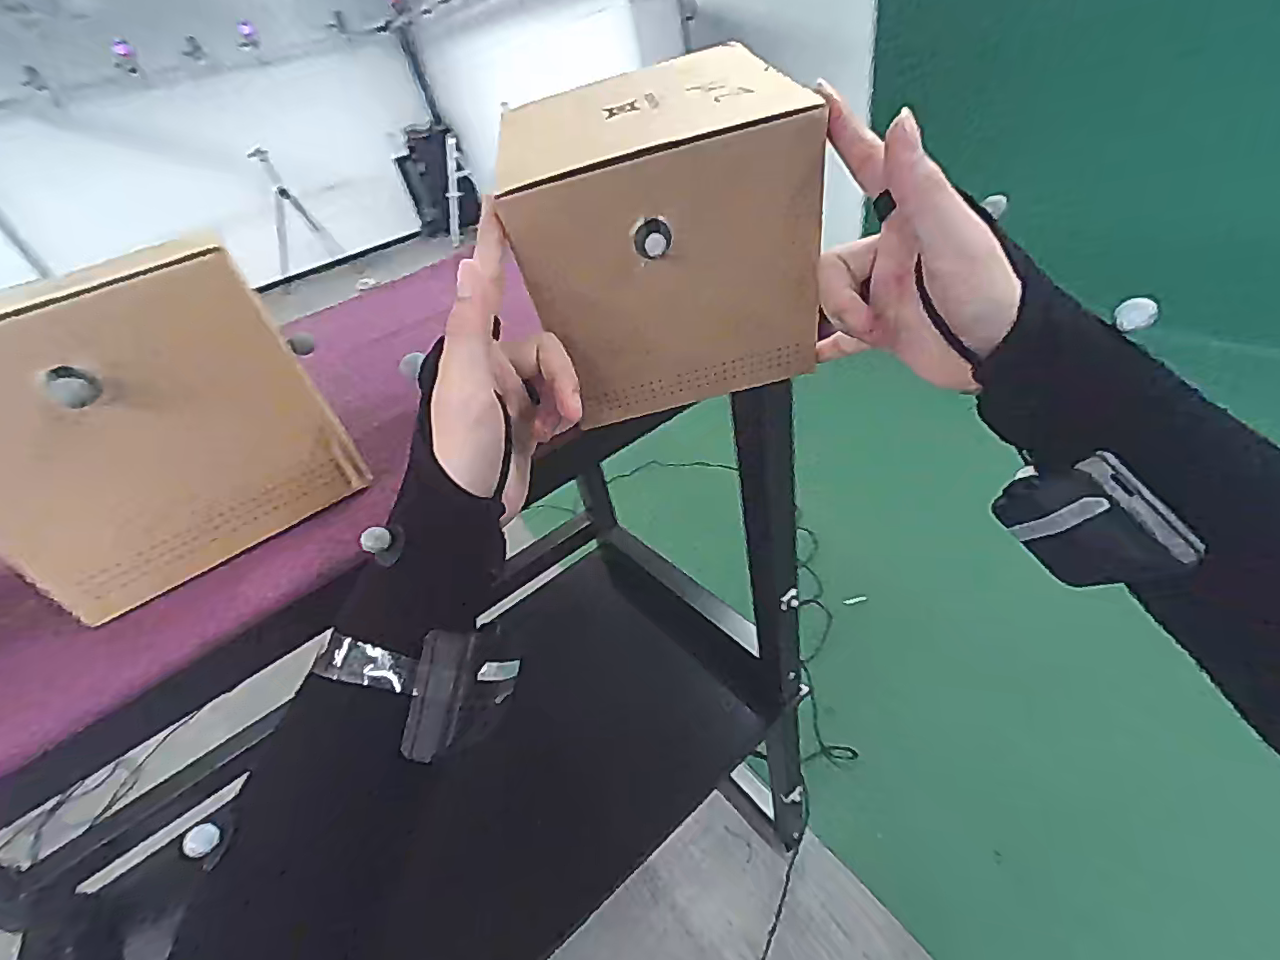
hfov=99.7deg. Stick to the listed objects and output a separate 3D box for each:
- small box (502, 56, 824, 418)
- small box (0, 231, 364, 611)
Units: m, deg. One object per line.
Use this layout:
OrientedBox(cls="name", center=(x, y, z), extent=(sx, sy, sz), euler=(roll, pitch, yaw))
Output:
OrientedBox(cls="small box", center=(0.018, -0.167, 0.389), extent=(0.179, 0.176, 0.168), euler=(-13, 47, 3))
OrientedBox(cls="small box", center=(-0.316, -0.050, 0.369), extent=(0.179, 0.176, 0.168), euler=(-33, 40, -21))
